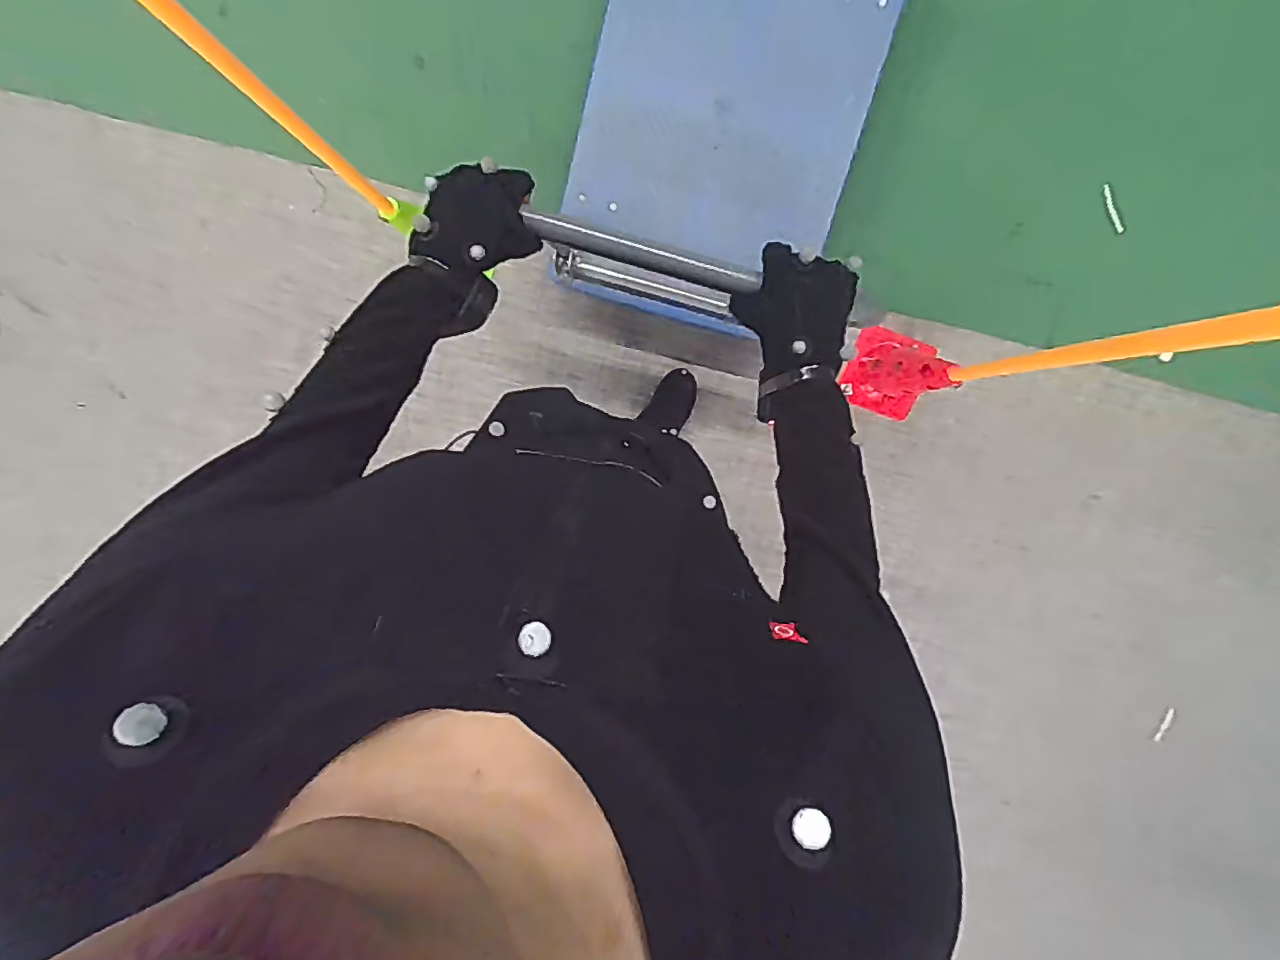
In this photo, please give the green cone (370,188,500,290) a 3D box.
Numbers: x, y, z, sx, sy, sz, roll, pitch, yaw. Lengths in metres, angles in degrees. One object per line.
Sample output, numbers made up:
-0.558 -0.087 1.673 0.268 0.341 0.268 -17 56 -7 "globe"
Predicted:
-0.482 -0.576 1.211 0.202 0.368 0.200 19 102 0 "green cone"
